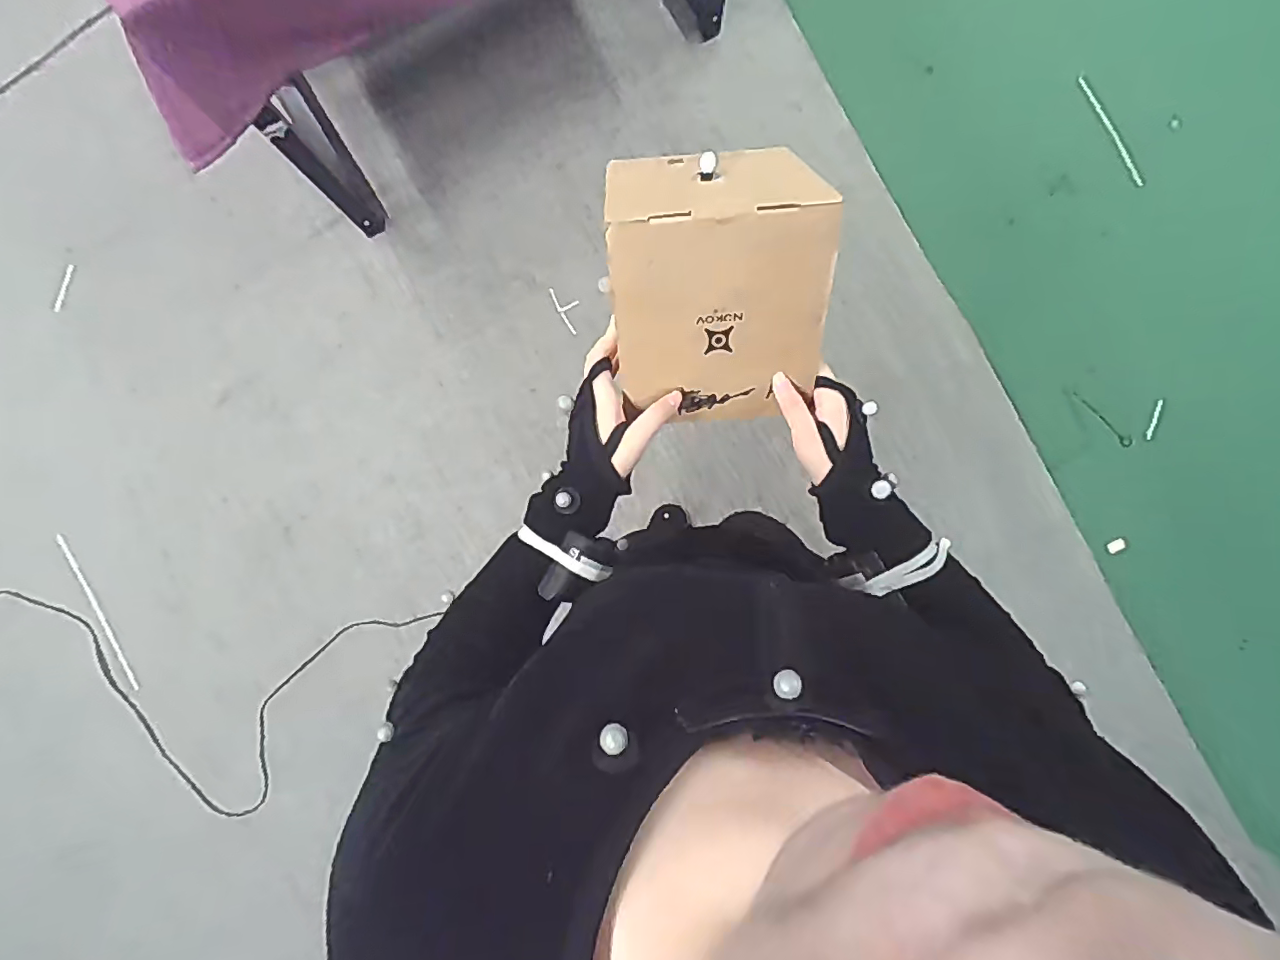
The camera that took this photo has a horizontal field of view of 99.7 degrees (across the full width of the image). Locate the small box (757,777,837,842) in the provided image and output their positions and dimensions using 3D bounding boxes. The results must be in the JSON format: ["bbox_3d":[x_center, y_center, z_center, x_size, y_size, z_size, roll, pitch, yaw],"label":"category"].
[{"bbox_3d":[0.413,0.882,1.353,0.168,0.176,0.179,-28,87,-1],"label":"small box"}]

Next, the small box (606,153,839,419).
[{"bbox_3d":[0.058,-0.177,0.483,0.168,0.176,0.179,-4,132,2],"label":"small box"}]

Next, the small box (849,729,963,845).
[{"bbox_3d":[0.656,0.756,1.359,0.168,0.176,0.179,-24,88,0],"label":"small box"}]
